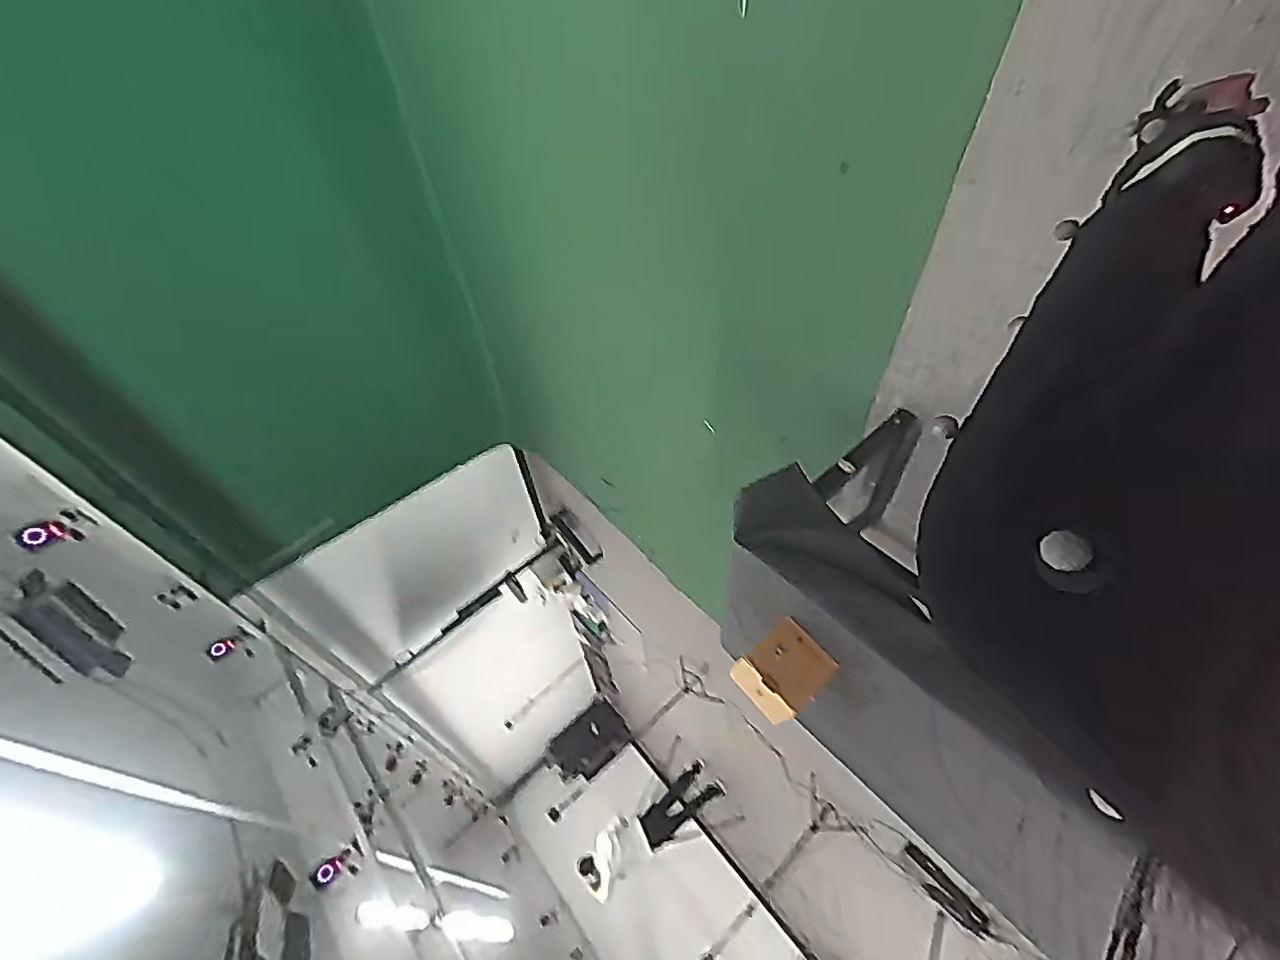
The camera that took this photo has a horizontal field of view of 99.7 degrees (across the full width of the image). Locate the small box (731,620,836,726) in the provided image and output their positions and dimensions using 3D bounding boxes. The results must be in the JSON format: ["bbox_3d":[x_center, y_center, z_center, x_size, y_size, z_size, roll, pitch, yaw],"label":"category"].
[{"bbox_3d":[0.357,0.477,1.343,0.168,0.176,0.179,46,156,22],"label":"small box"}]
